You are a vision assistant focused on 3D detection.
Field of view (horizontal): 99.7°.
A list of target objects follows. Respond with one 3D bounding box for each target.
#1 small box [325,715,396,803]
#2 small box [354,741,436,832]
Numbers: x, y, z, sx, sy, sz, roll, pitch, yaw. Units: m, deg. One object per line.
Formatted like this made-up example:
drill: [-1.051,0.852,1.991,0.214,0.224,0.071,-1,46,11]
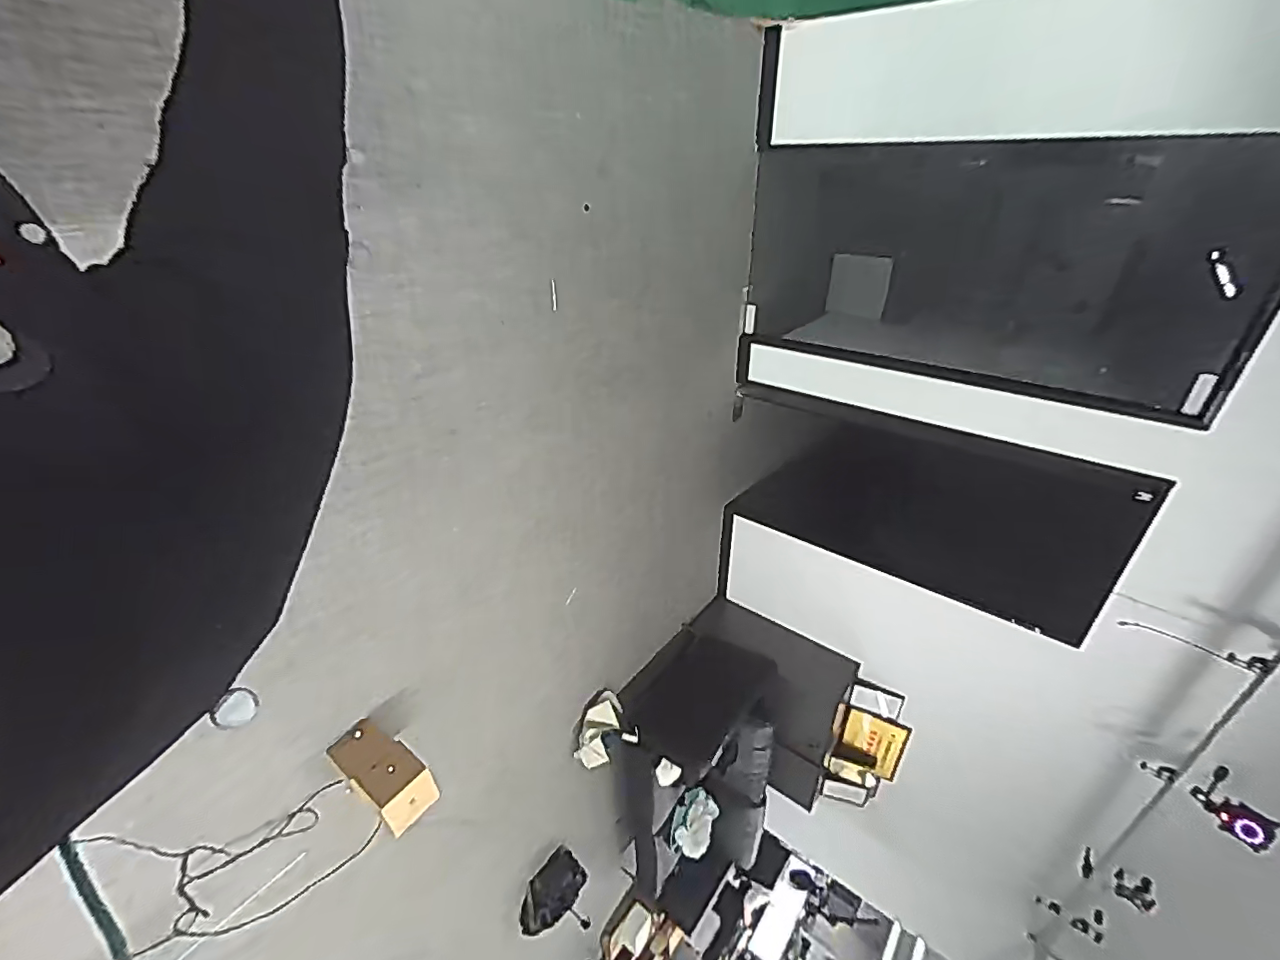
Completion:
small box: [-0.943,0.953,1.860,0.168,0.176,0.179,-36,136,-41]
small box: [-0.807,0.997,1.778,0.168,0.176,0.179,-36,136,-41]
